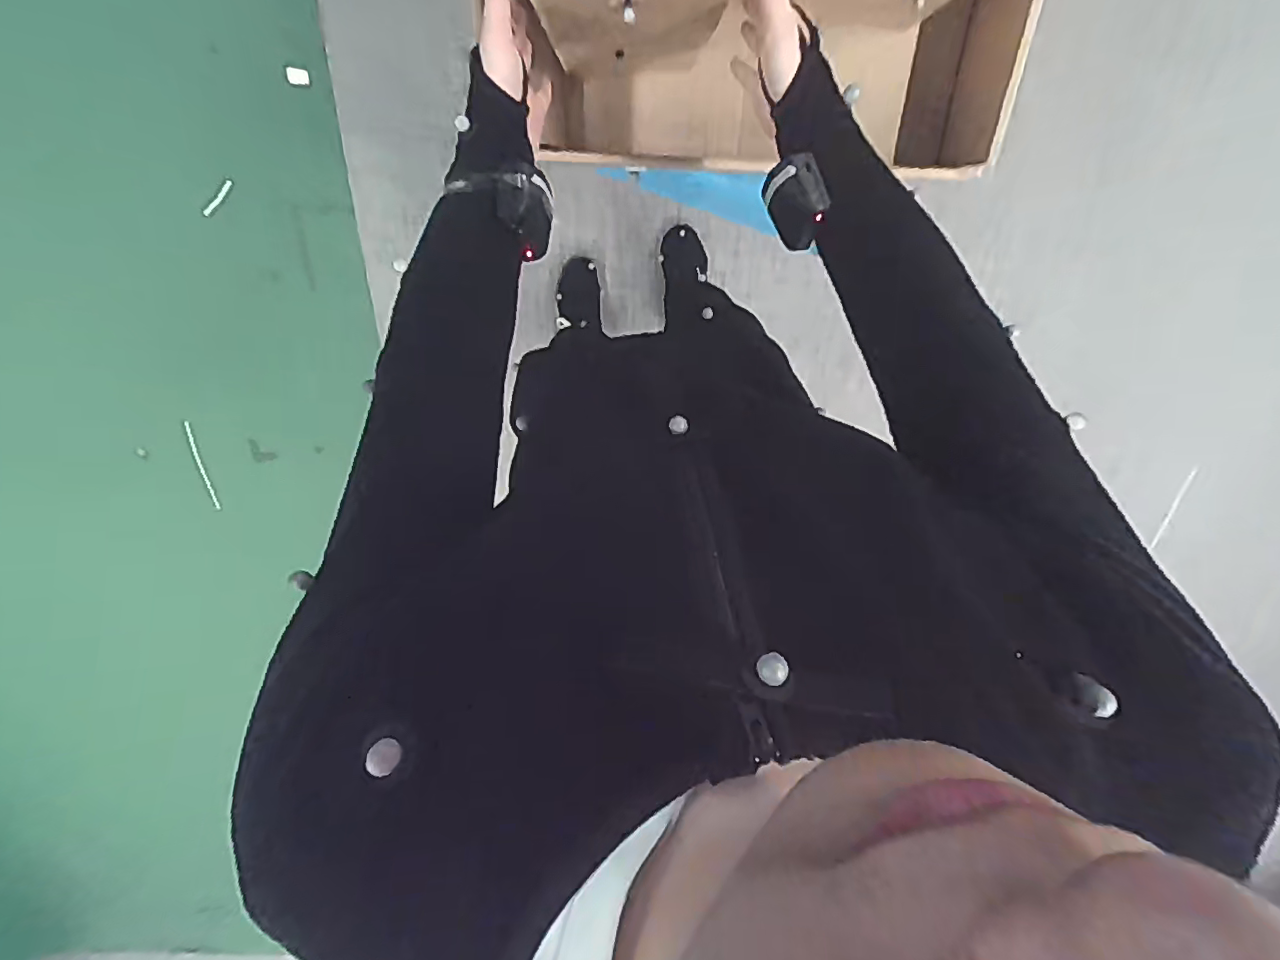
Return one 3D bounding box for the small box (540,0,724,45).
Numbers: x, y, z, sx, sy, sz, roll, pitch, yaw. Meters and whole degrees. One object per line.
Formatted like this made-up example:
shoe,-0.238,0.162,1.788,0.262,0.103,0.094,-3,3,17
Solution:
small box,-0.009,-0.500,0.467,0.179,0.176,0.168,-3,117,0
